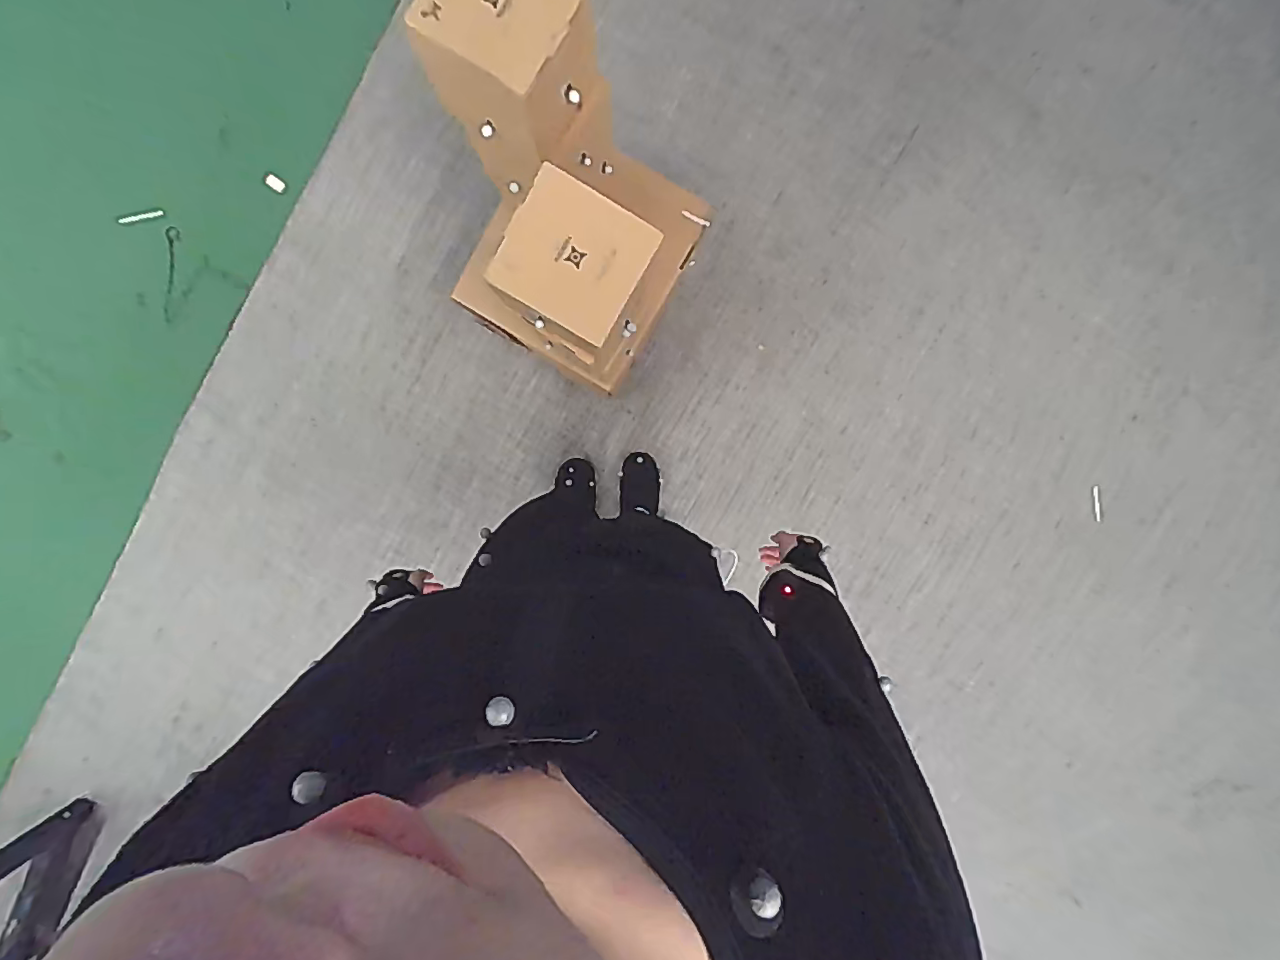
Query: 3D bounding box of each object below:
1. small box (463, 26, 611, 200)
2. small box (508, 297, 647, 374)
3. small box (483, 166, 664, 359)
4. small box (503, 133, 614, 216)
[{"bbox_3d":[-0.162,-0.581,0.906,0.168,0.176,0.179,33,91,-2],"label":"small box"},{"bbox_3d":[-0.097,-0.301,0.922,0.168,0.176,0.179,34,93,-4],"label":"small box"},{"bbox_3d":[-0.086,-0.286,0.760,0.179,0.176,0.168,30,94,-4],"label":"small box"},{"bbox_3d":[-0.165,-0.602,1.071,0.168,0.176,0.179,30,90,-1],"label":"small box"}]
